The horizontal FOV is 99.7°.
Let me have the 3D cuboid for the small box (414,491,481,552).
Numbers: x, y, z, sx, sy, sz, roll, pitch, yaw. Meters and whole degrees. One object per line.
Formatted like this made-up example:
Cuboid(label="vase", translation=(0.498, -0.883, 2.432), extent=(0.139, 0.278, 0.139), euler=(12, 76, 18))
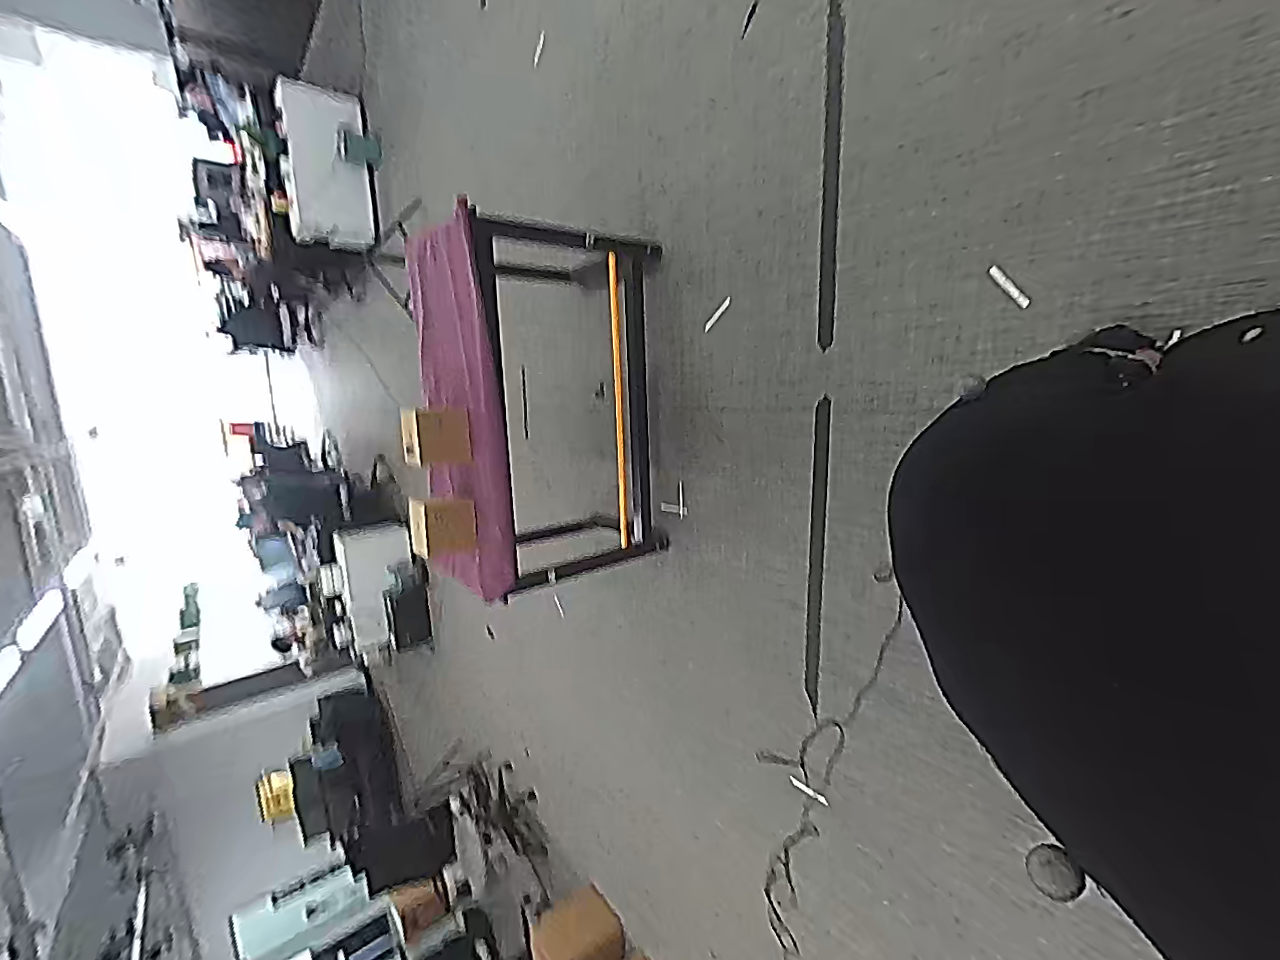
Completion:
Cuboid(label="small box", translation=(-0.655, 0.134, 1.841), extent=(0.168, 0.176, 0.179), euler=(6, 100, 52))
